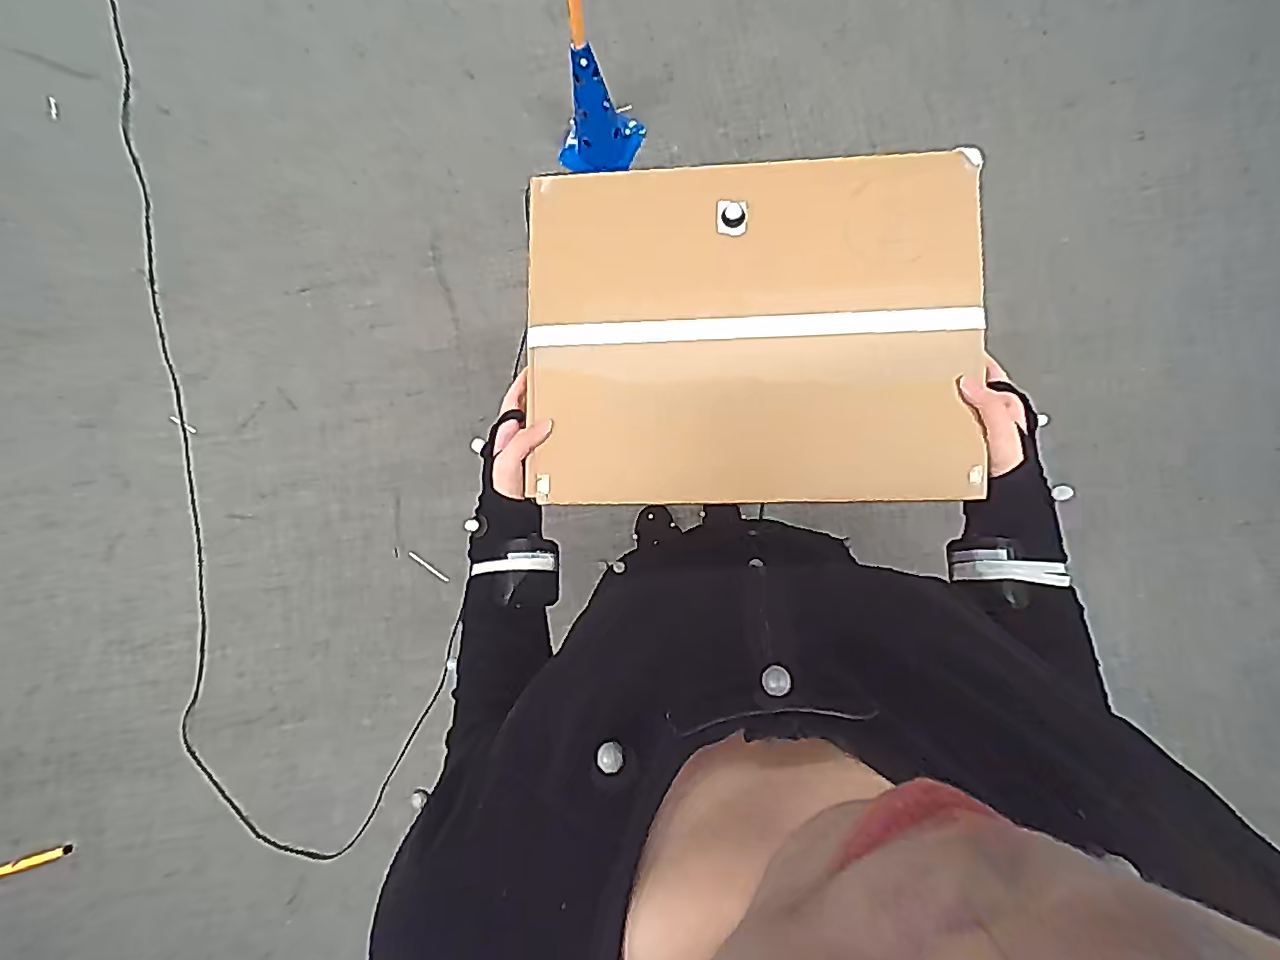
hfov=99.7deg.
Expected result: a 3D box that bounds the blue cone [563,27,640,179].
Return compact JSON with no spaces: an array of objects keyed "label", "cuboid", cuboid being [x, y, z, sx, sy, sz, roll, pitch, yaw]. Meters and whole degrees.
[{"label":"blue cone","cuboid":[-0.120,-0.965,1.362,0.192,0.380,0.193,24,90,4]}]
